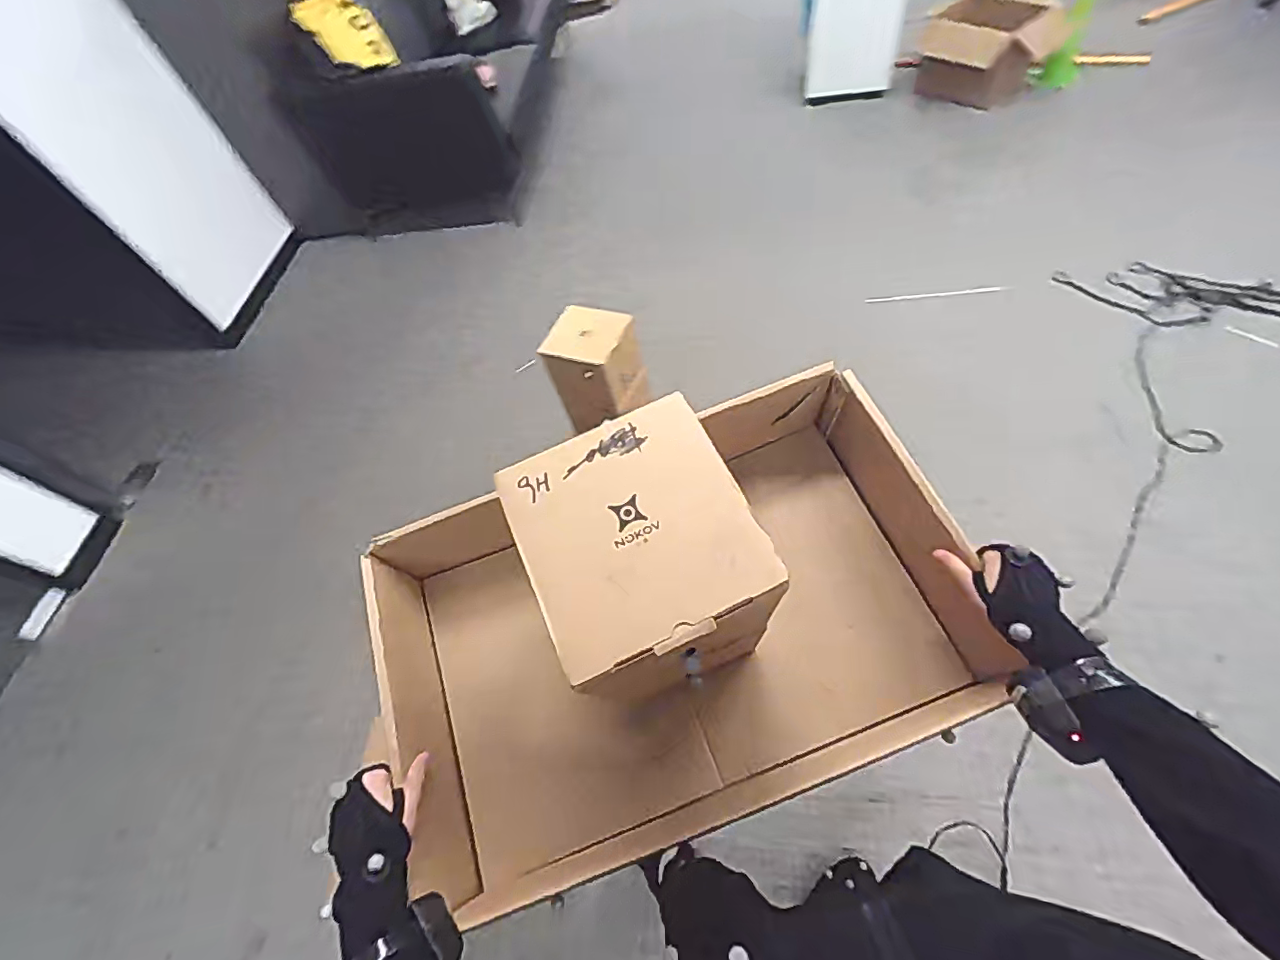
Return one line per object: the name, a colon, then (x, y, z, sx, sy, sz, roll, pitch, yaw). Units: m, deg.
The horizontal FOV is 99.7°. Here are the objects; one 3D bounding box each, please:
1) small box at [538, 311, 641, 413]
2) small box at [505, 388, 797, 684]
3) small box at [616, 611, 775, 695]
small box: (-0.116, -0.287, 1.328, 0.179, 0.176, 0.168, 15, 61, 20)
small box: (0.010, 0.060, 0.464, 0.168, 0.176, 0.179, -24, 65, -5)
small box: (0.032, 0.126, 0.612, 0.168, 0.176, 0.179, -22, 65, -3)
